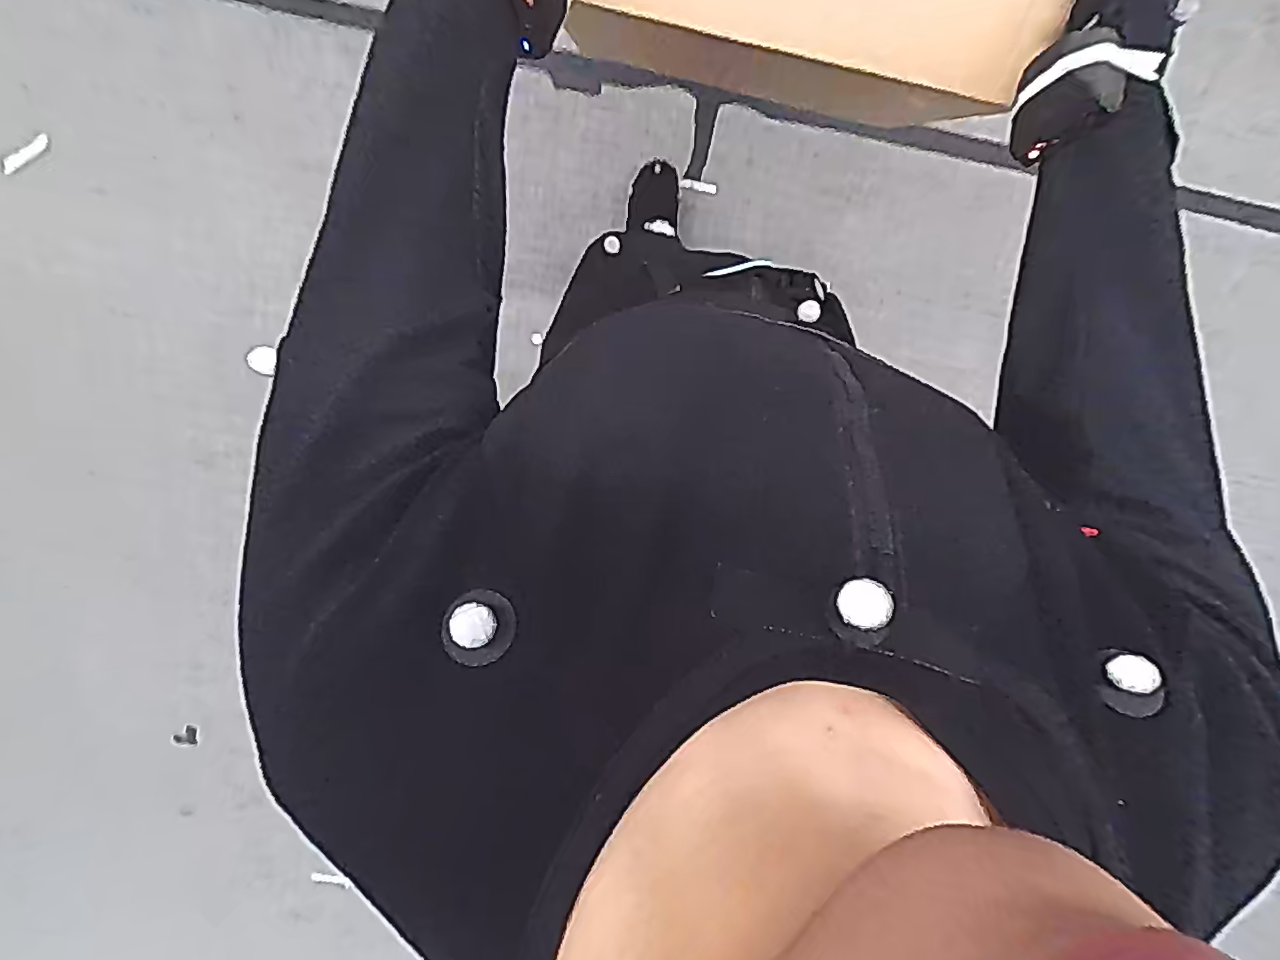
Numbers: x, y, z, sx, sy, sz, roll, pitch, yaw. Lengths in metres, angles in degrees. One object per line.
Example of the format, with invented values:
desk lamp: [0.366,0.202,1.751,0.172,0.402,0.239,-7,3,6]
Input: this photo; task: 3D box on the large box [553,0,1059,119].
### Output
large box: [0.144,-0.550,0.480,0.408,0.320,0.320,10,121,-5]
